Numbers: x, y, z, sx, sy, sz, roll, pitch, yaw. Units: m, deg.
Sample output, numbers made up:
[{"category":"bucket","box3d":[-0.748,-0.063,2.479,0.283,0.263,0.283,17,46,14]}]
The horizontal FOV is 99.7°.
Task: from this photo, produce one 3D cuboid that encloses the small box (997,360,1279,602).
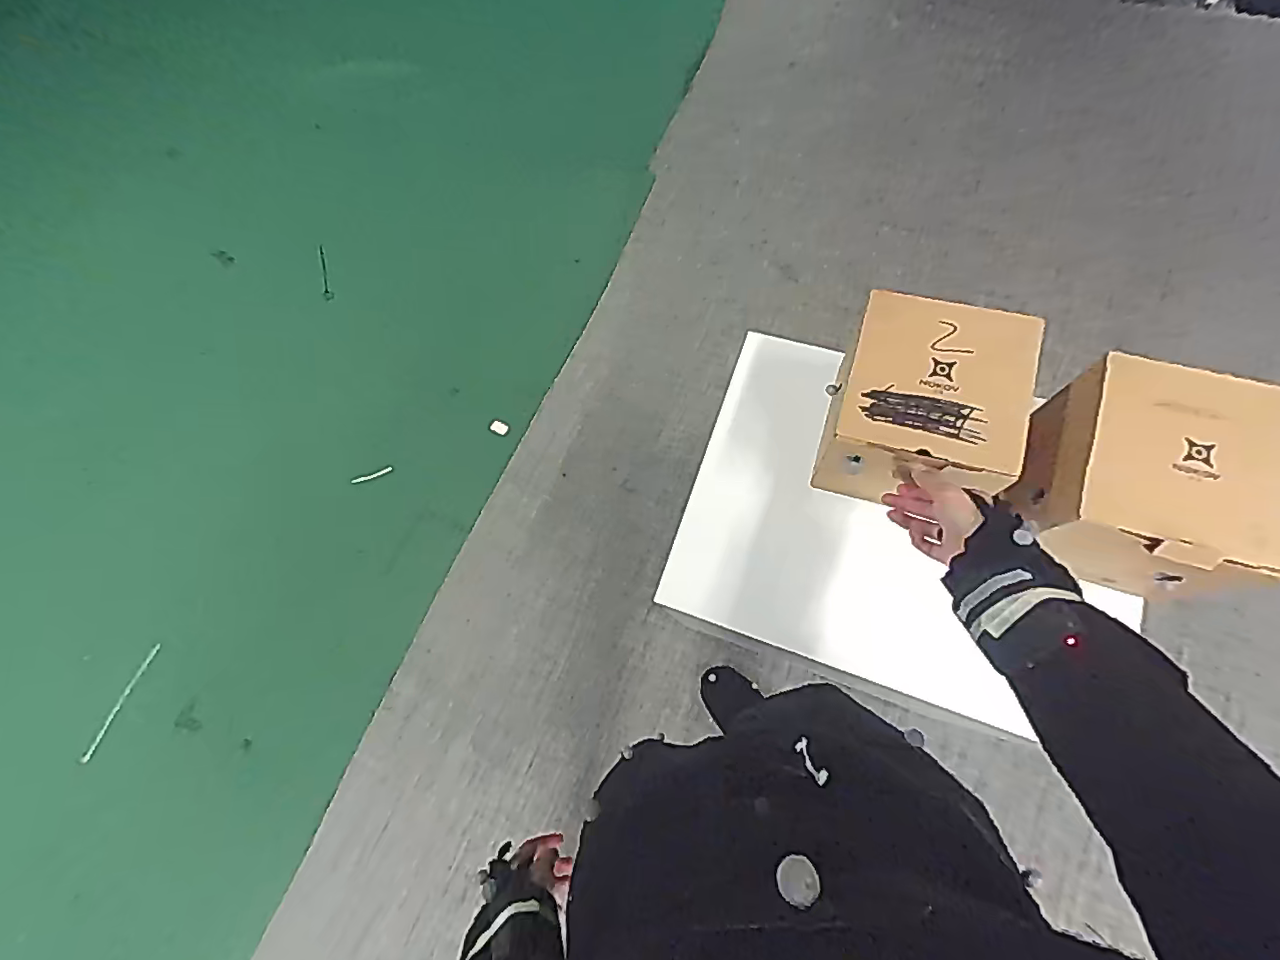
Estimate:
[{"category":"small box","box3d":[0.494,0.012,0.544,0.168,0.176,0.179,17,75,13]}]
